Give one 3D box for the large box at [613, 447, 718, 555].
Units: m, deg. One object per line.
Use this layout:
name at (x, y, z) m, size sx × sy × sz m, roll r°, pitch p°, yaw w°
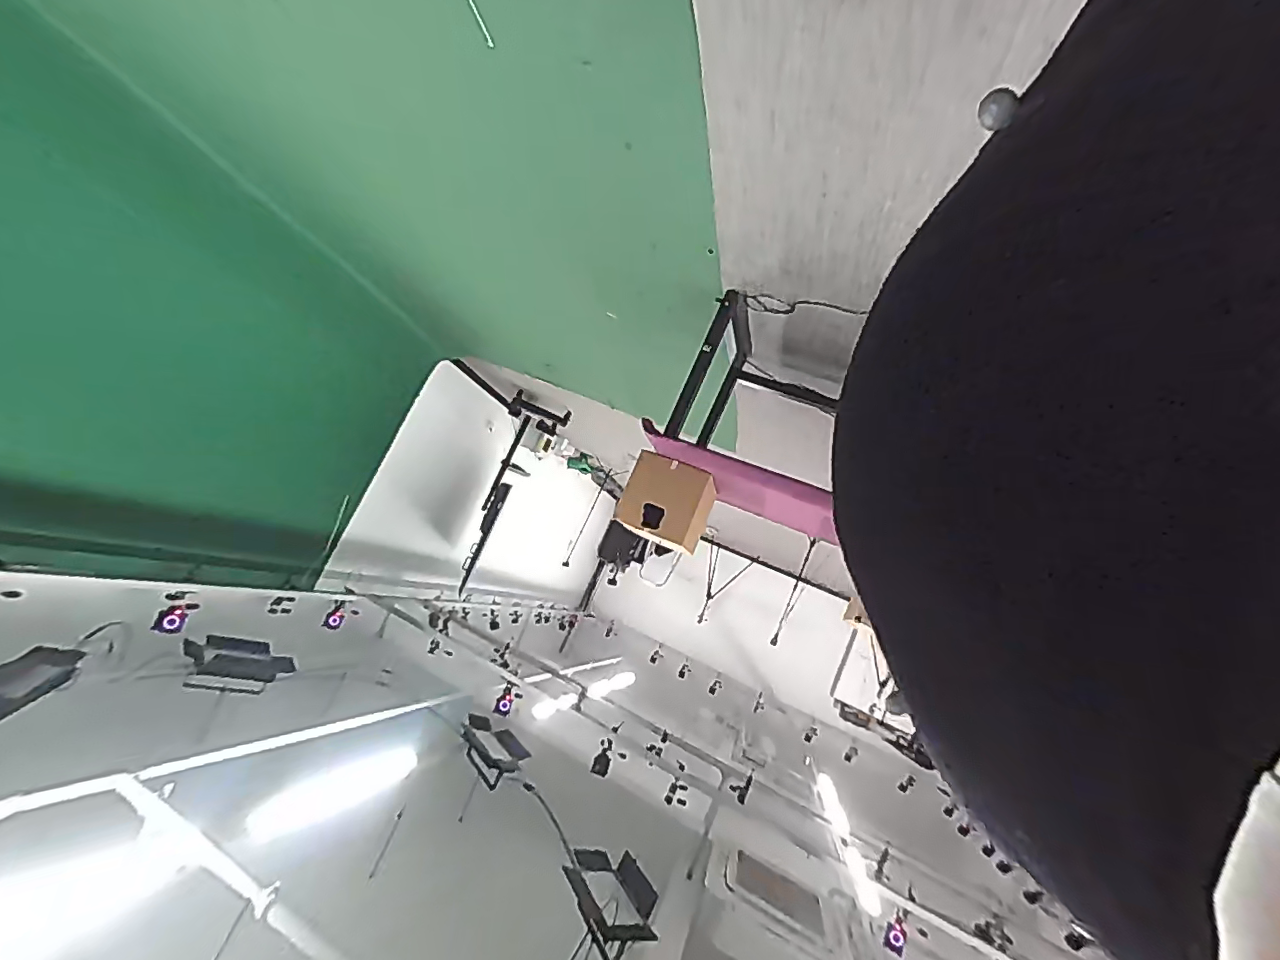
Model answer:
large box at (0.127, 0.100, 2.319) m, size 0.320 × 0.320 × 0.408 m, roll 20°, pitch 170°, yaw 16°
